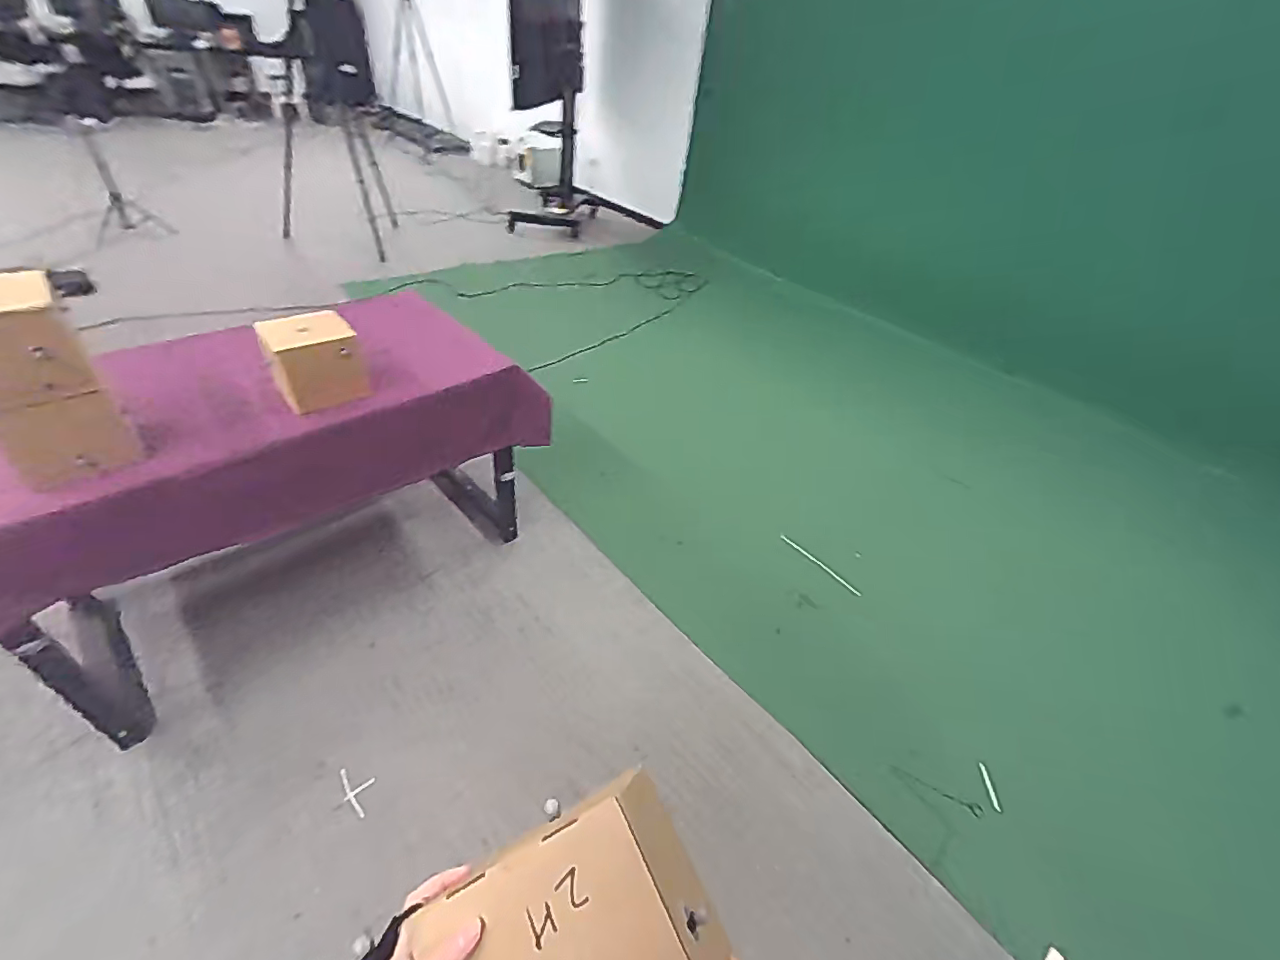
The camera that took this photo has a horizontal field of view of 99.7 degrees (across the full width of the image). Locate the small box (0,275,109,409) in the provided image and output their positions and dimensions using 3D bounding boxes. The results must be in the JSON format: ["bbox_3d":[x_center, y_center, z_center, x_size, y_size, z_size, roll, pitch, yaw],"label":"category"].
[{"bbox_3d":[-1.088,-0.240,0.953,0.168,0.176,0.179,-25,49,-34],"label":"small box"}]

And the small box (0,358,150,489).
[{"bbox_3d":[-1.102,-0.112,1.055,0.179,0.176,0.168,-27,50,-35],"label":"small box"}]

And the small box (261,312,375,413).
[{"bbox_3d":[-0.777,-0.286,1.317,0.179,0.176,0.168,-26,50,-34],"label":"small box"}]
